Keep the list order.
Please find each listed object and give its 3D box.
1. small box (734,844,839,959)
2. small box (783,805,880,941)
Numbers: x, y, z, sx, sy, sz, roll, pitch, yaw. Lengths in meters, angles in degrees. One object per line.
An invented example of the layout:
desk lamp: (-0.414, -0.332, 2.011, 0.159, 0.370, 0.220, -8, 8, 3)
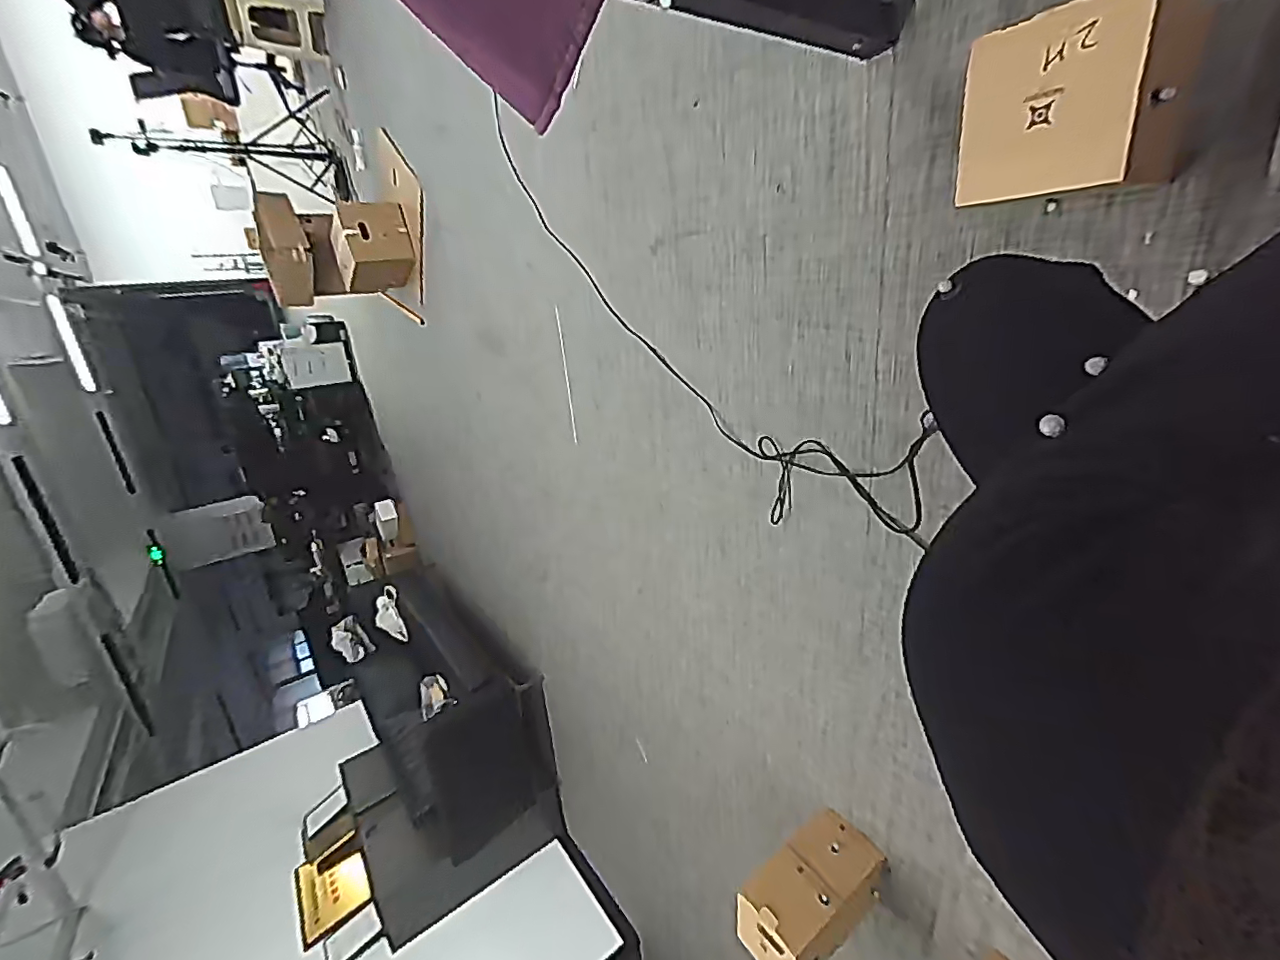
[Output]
small box: (0.337, 0.998, 1.247, 0.168, 0.176, 0.179, 25, 126, 49)
small box: (0.469, 0.959, 1.338, 0.168, 0.176, 0.179, 24, 124, 50)
